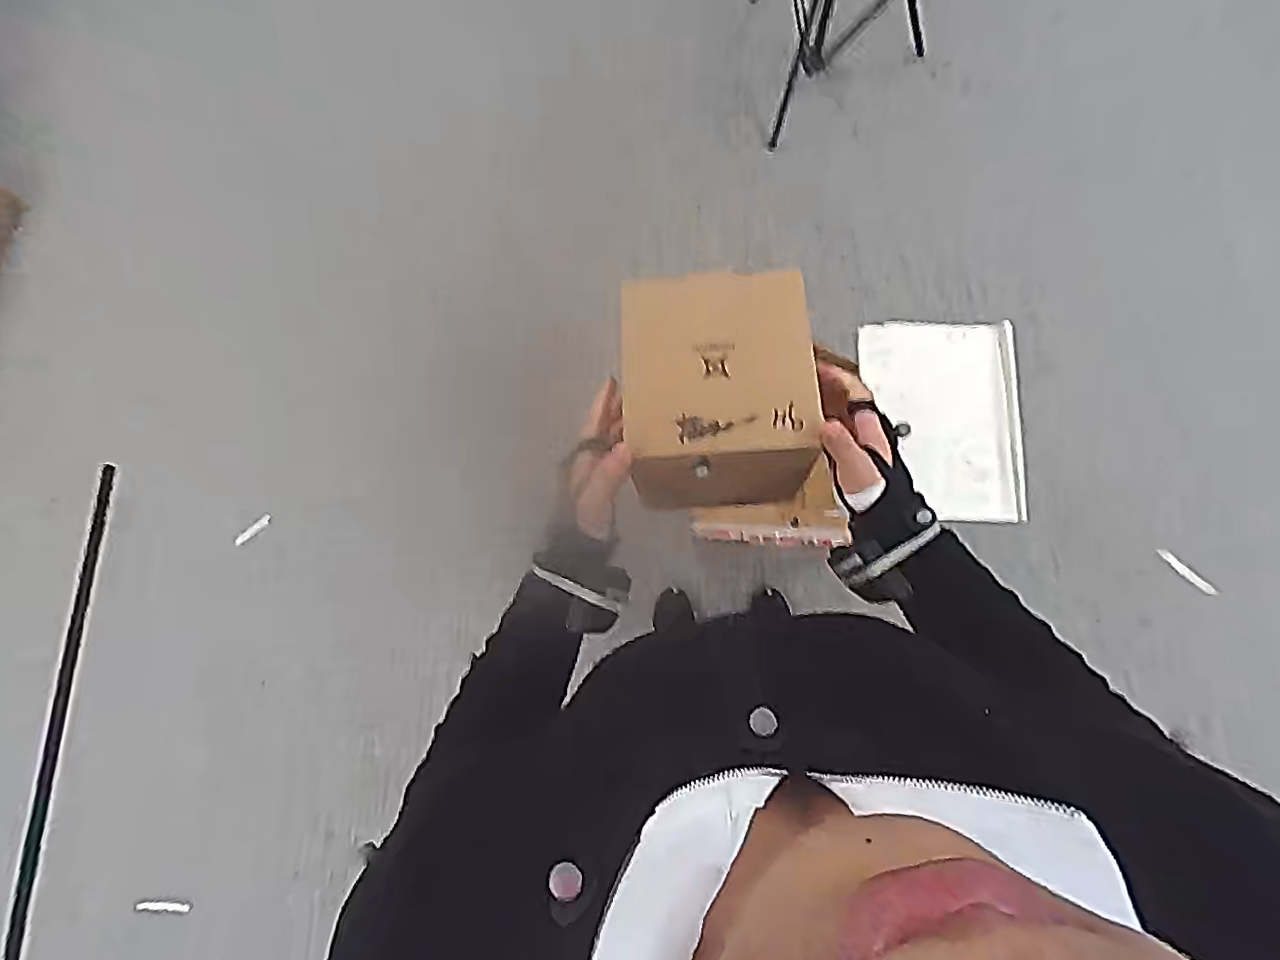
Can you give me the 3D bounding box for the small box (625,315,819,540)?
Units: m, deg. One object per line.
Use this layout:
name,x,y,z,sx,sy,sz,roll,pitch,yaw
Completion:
small box,0.074,-0.044,0.558,0.168,0.176,0.179,-3,71,5

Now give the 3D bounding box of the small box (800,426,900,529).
small box,0.396,0.000,0.982,0.179,0.176,0.168,-2,80,3

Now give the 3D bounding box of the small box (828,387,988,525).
small box,0.391,-0.029,0.820,0.168,0.176,0.179,2,81,3
